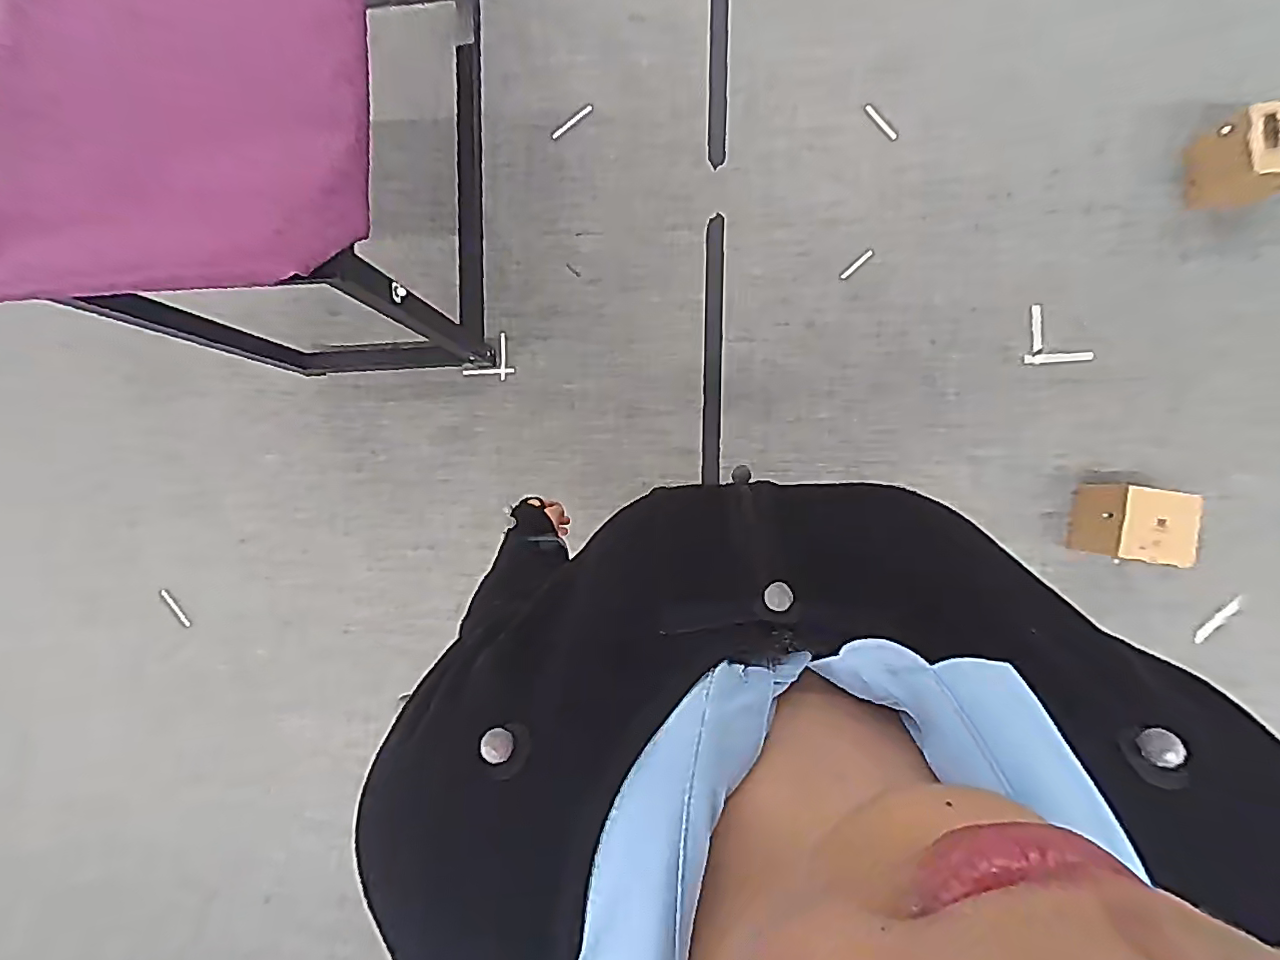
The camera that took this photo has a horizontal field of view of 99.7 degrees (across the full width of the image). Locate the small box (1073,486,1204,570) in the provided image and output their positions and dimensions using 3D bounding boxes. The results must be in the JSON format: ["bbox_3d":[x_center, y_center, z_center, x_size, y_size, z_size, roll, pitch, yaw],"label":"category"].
[{"bbox_3d":[1.225,0.113,1.341,0.168,0.176,0.179,9,90,5],"label":"small box"}]
